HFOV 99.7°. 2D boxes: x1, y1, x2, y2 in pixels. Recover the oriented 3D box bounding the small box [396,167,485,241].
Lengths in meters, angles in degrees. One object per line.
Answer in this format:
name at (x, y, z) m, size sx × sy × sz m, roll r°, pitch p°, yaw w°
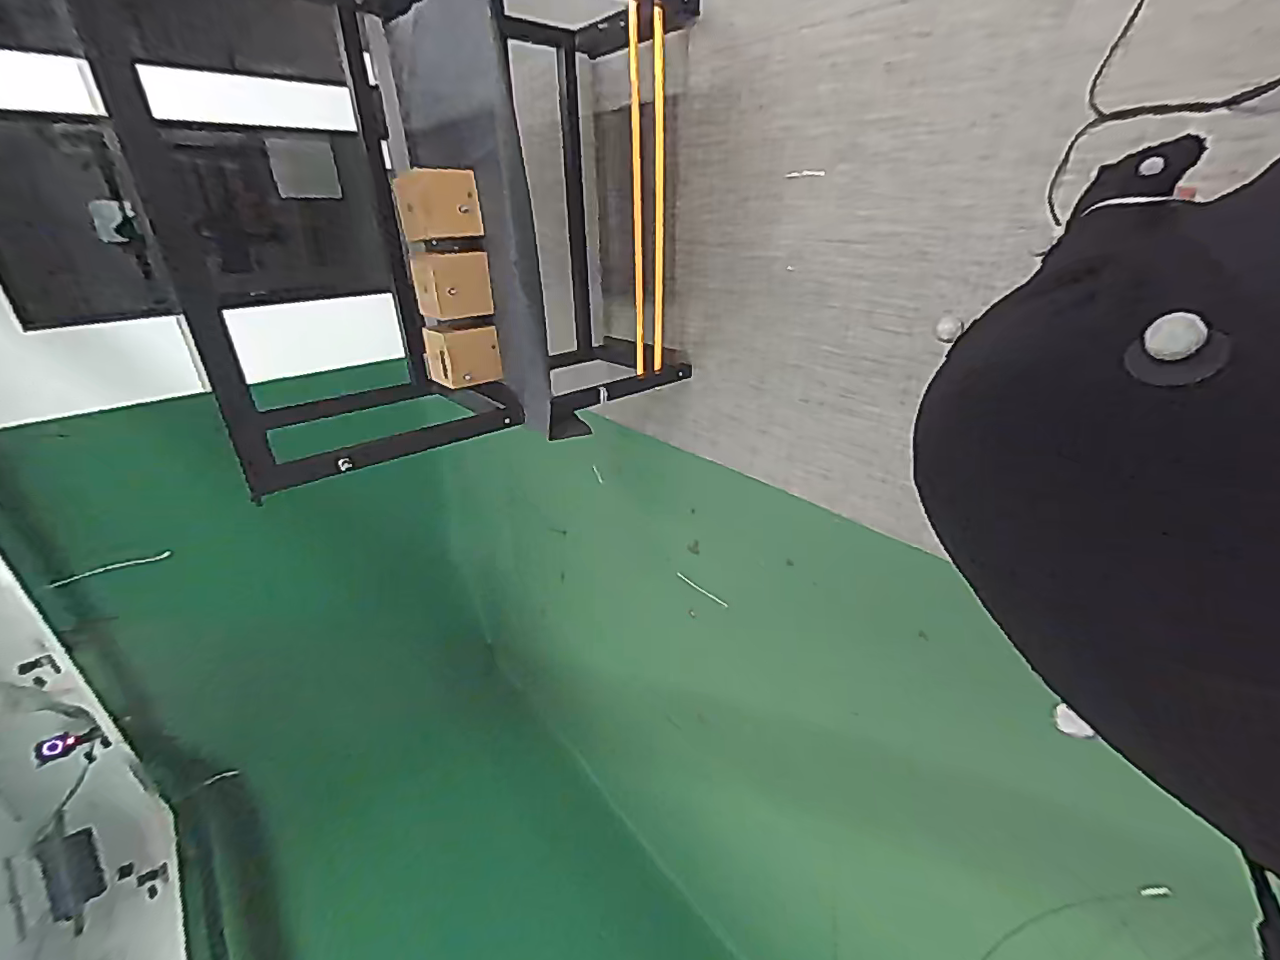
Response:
small box at (-0.559, -0.771, 1.522) m, size 0.179 × 0.176 × 0.168 m, roll 18°, pitch 122°, yaw 46°
